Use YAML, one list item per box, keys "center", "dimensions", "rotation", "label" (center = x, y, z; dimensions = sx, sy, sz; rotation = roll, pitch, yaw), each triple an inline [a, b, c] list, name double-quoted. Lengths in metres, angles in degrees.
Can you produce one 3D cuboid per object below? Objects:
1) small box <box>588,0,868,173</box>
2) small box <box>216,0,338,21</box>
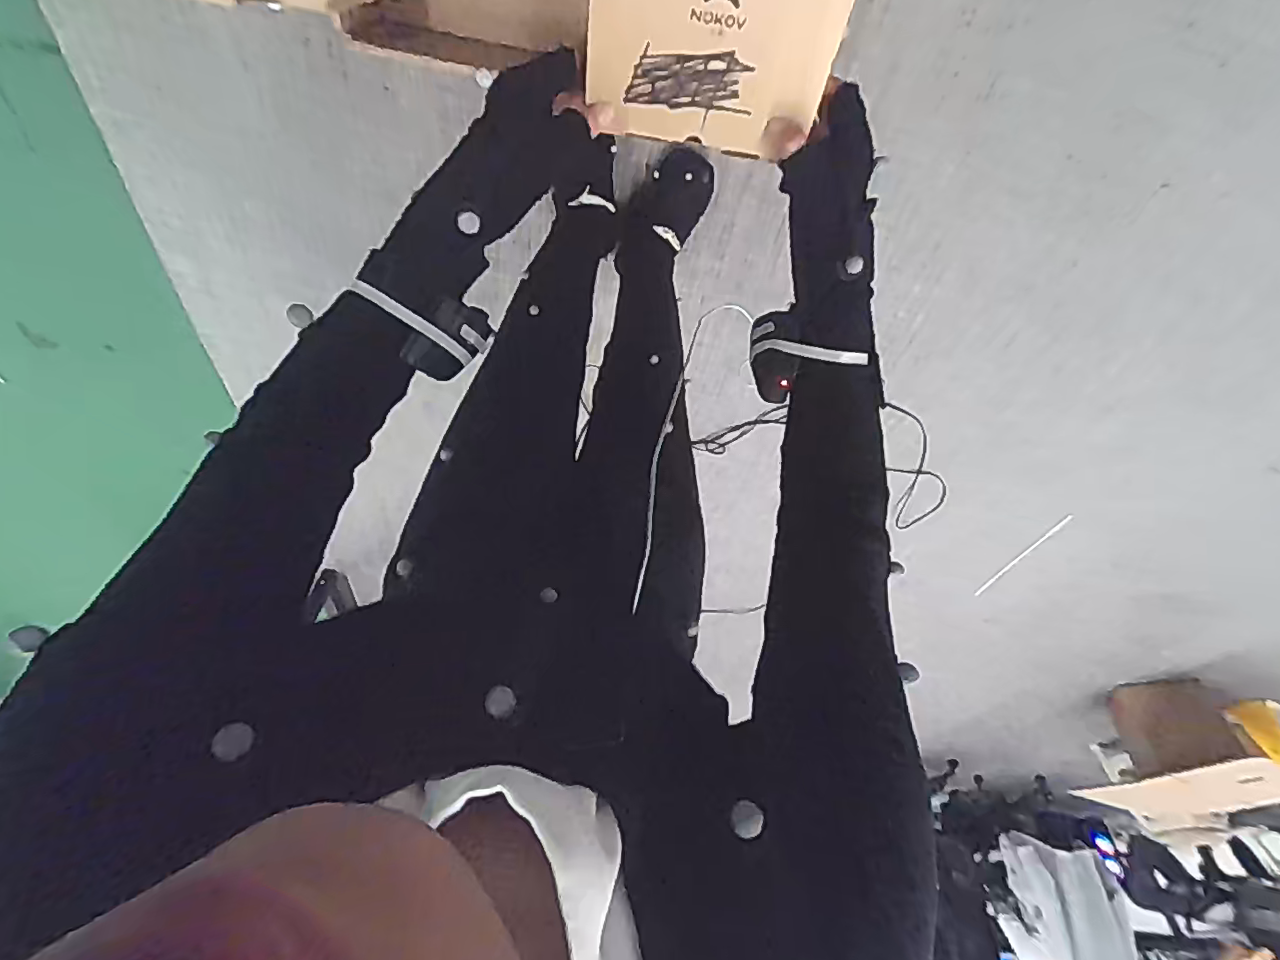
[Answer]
- center: [0.061, -0.362, 0.383]
  dimensions: [0.168, 0.176, 0.179]
  rotation: [8, 145, -7]
  label: "small box"
- center: [-0.254, -0.411, 0.319]
  dimensions: [0.168, 0.176, 0.179]
  rotation: [6, 138, -5]
  label: "small box"
